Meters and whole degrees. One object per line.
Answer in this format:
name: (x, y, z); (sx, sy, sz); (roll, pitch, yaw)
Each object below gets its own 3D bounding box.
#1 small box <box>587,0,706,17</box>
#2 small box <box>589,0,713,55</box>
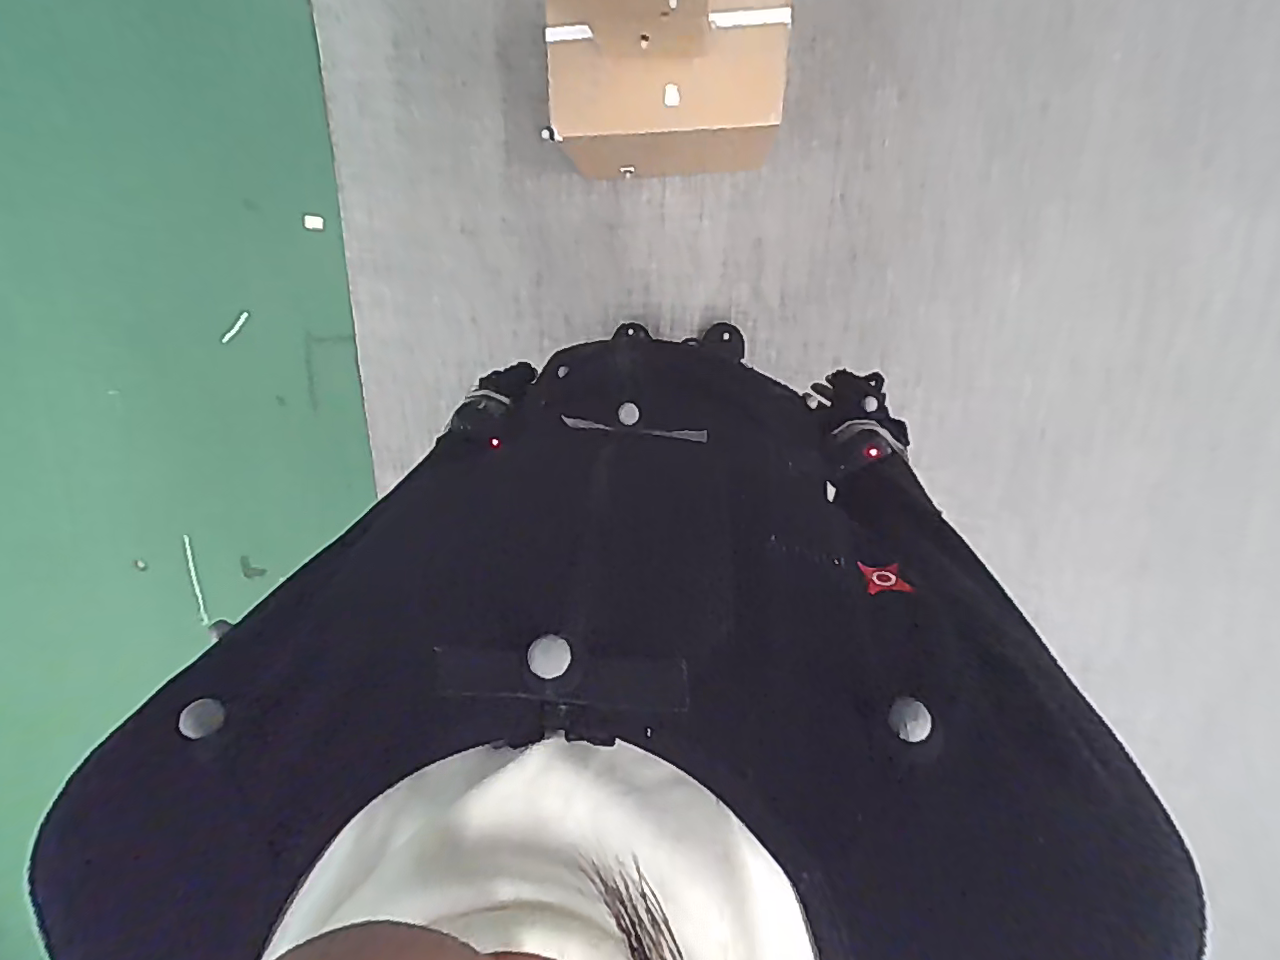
small box: (0.003, -0.699, 0.657); (0.168, 0.176, 0.179); (1, 112, 6)
small box: (0.019, -0.761, 0.805); (0.179, 0.176, 0.168); (1, 114, 6)
